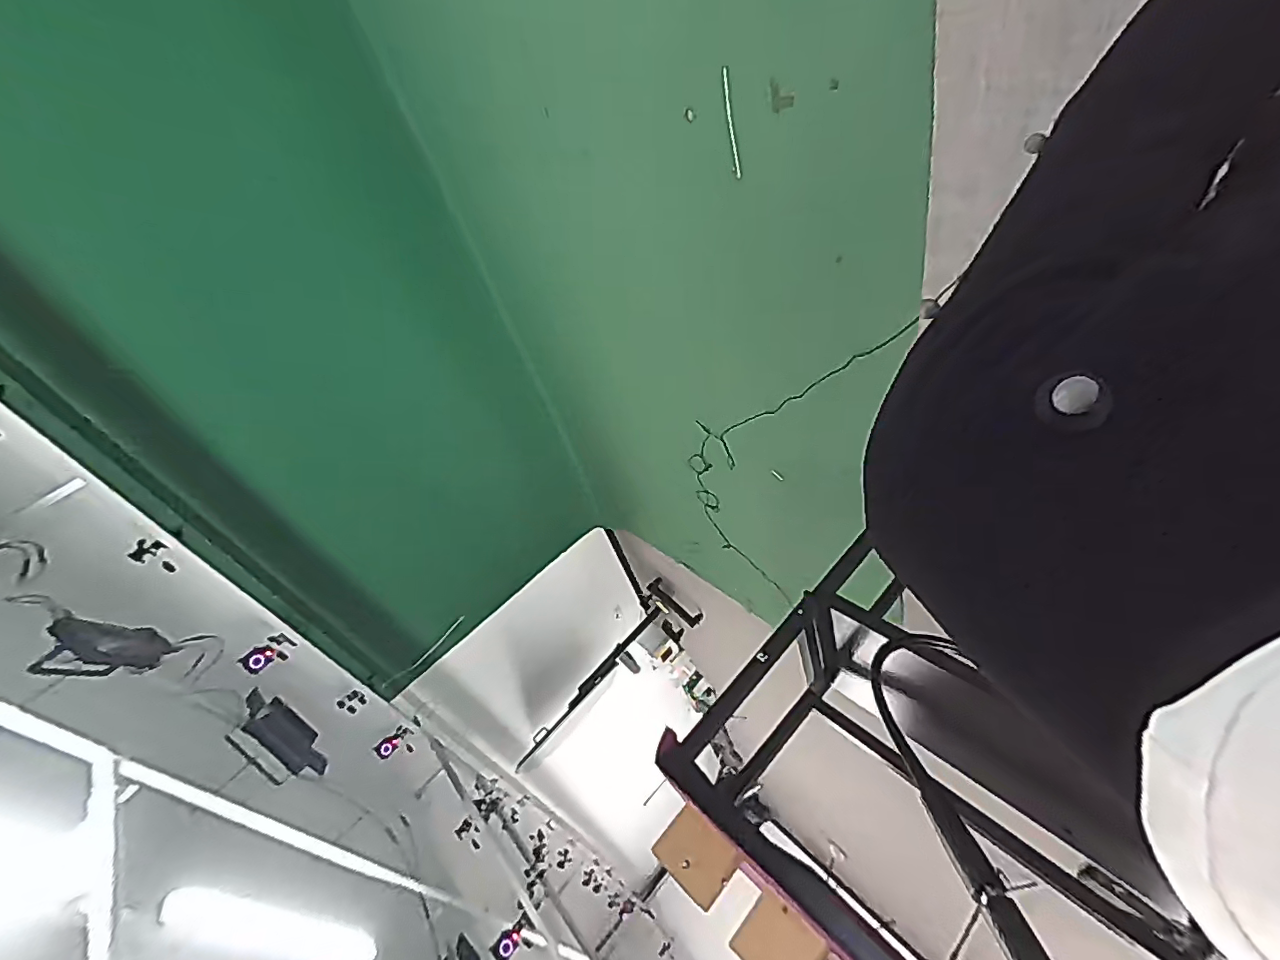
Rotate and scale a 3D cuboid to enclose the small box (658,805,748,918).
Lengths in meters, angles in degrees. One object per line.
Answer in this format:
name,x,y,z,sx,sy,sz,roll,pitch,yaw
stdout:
small box,0.181,1.042,1.483,0.179,0.176,0.168,30,150,40
